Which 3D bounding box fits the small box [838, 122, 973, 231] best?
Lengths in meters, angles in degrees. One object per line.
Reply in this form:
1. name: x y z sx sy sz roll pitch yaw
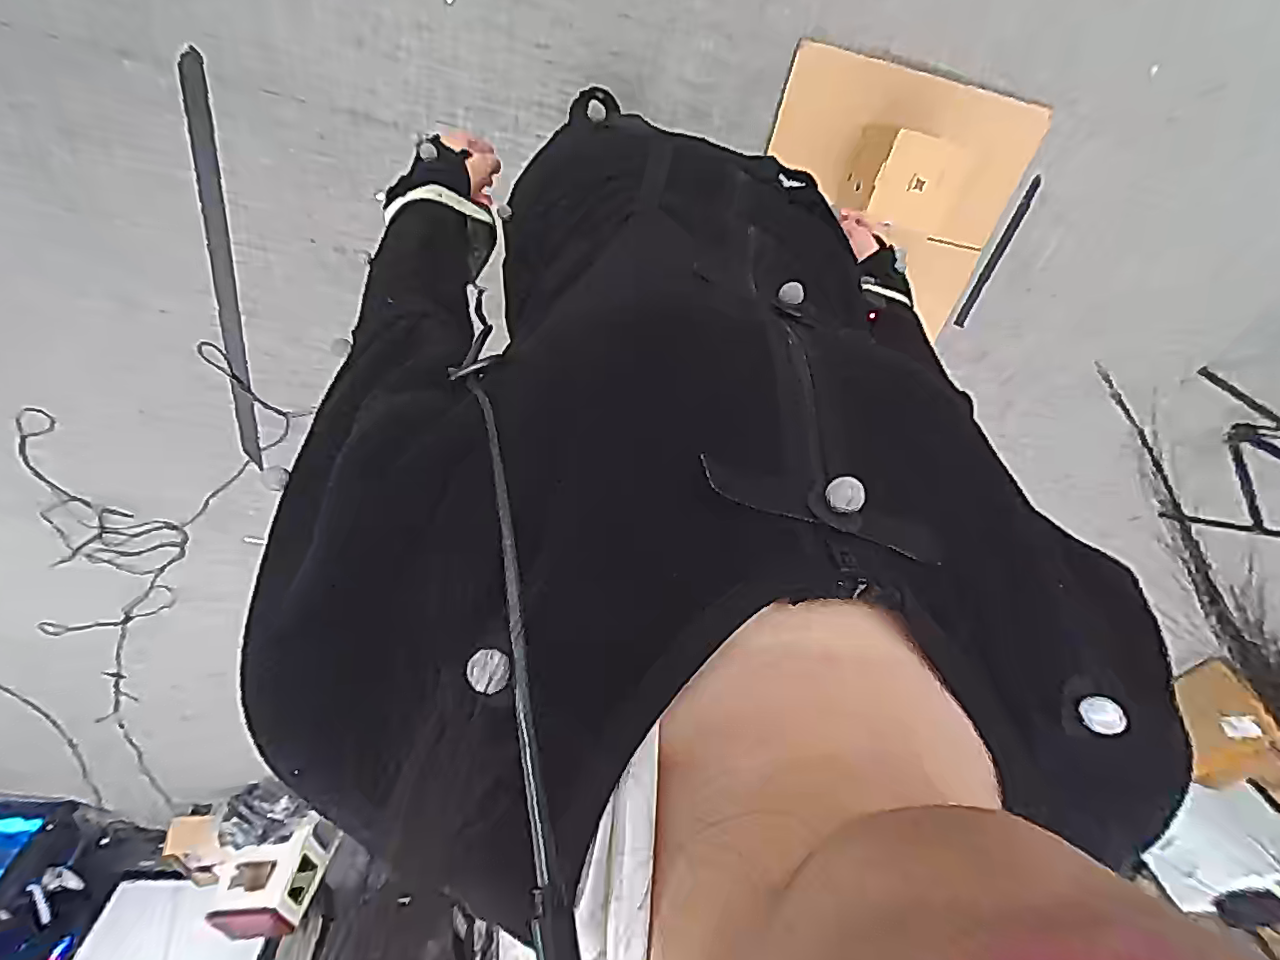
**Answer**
1. small box: 0.561 -0.662 1.174 0.179 0.176 0.168 8 126 -11
